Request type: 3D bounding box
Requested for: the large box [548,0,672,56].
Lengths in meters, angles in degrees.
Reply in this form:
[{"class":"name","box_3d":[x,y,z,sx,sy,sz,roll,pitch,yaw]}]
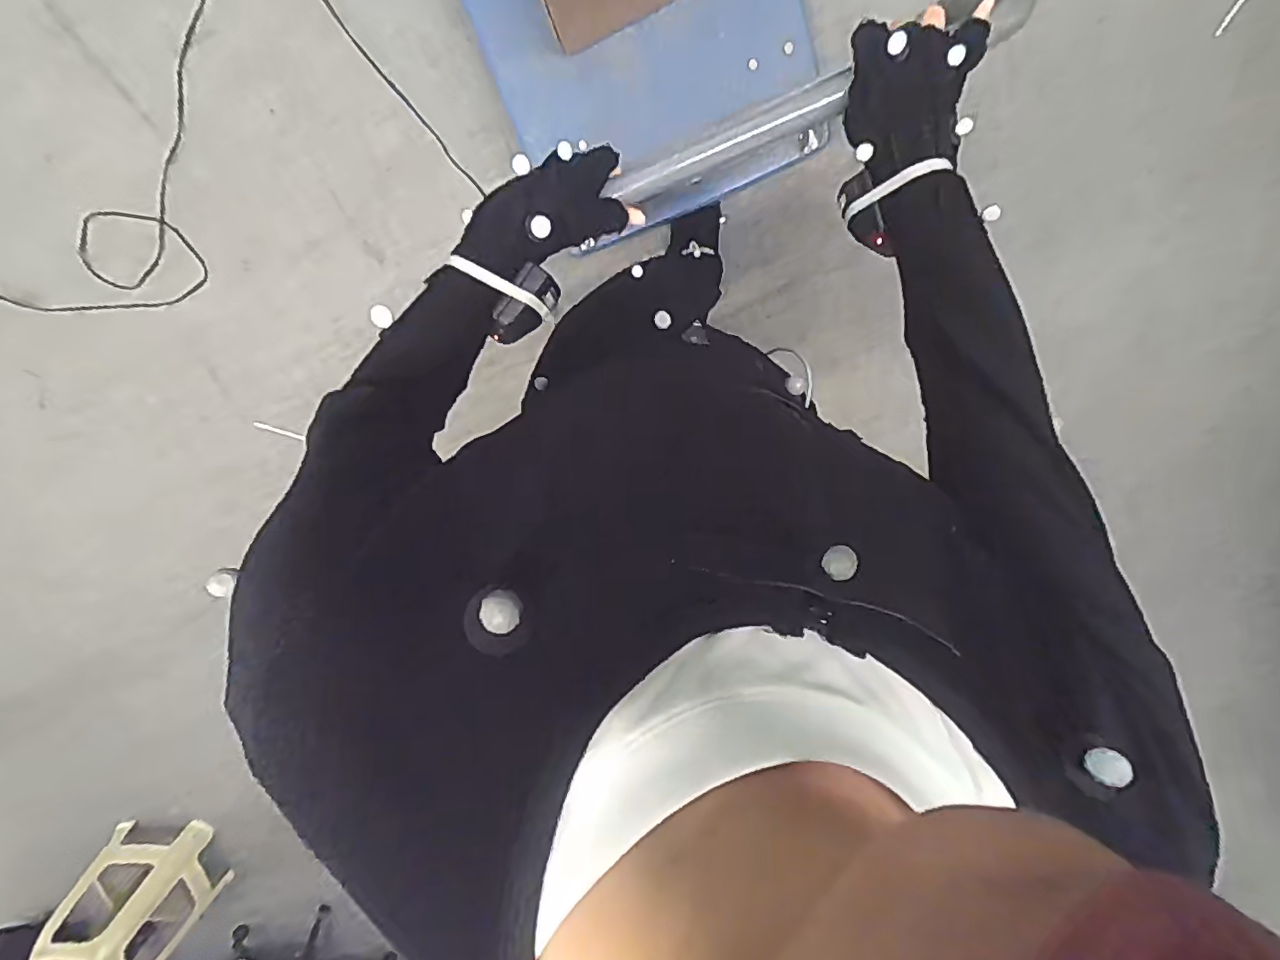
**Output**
[{"class":"large box","box_3d":[-0.011,-0.945,0.807,0.408,0.320,0.320,-23,110,10]}]
